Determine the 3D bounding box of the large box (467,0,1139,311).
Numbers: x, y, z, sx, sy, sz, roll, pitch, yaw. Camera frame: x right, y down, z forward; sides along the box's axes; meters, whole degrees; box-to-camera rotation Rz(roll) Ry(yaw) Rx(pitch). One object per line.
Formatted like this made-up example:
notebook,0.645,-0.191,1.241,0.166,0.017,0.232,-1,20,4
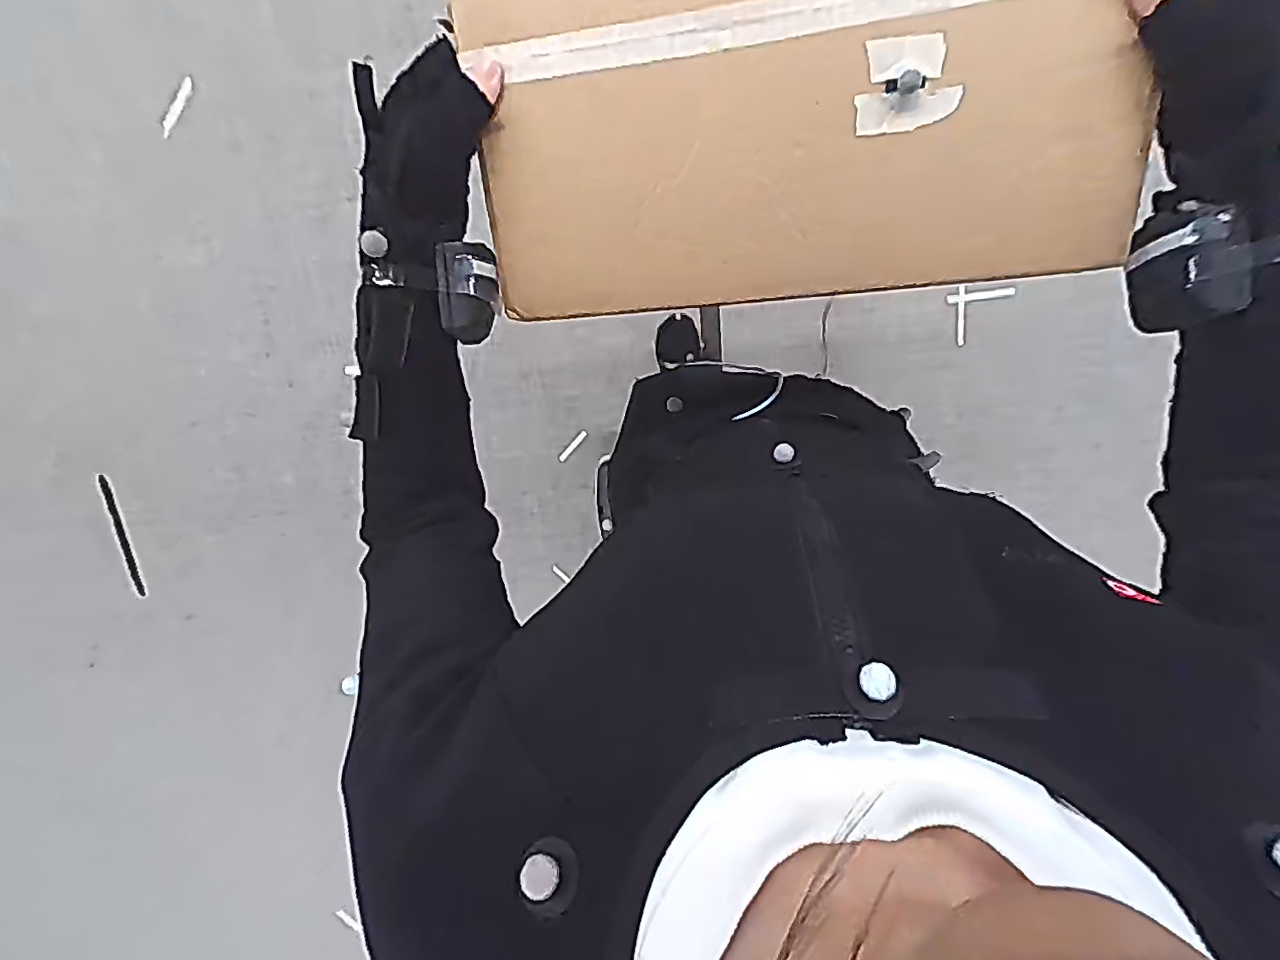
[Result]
large box,0.105,-0.336,0.470,0.408,0.320,0.320,-3,111,9
